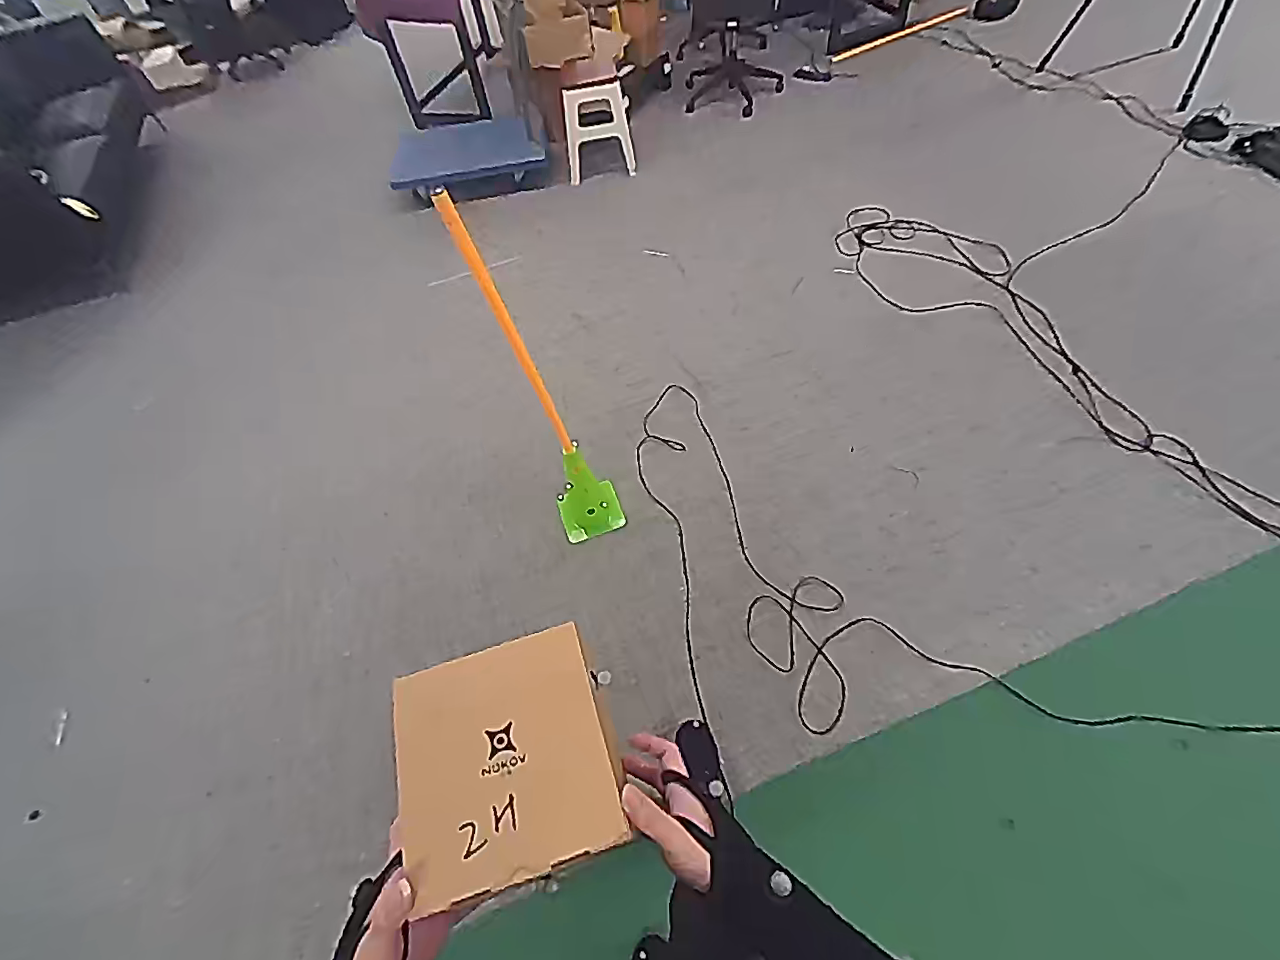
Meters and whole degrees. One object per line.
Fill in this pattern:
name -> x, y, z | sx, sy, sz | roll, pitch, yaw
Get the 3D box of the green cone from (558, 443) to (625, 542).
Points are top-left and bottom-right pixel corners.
green cone -> -0.182, 0.012, 1.711 | 0.202, 0.368, 0.200 | -19, 57, -7

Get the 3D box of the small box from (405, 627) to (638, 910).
small box -> -0.104, 0.268, 0.509 | 0.168, 0.176, 0.179 | -16, 57, -6
